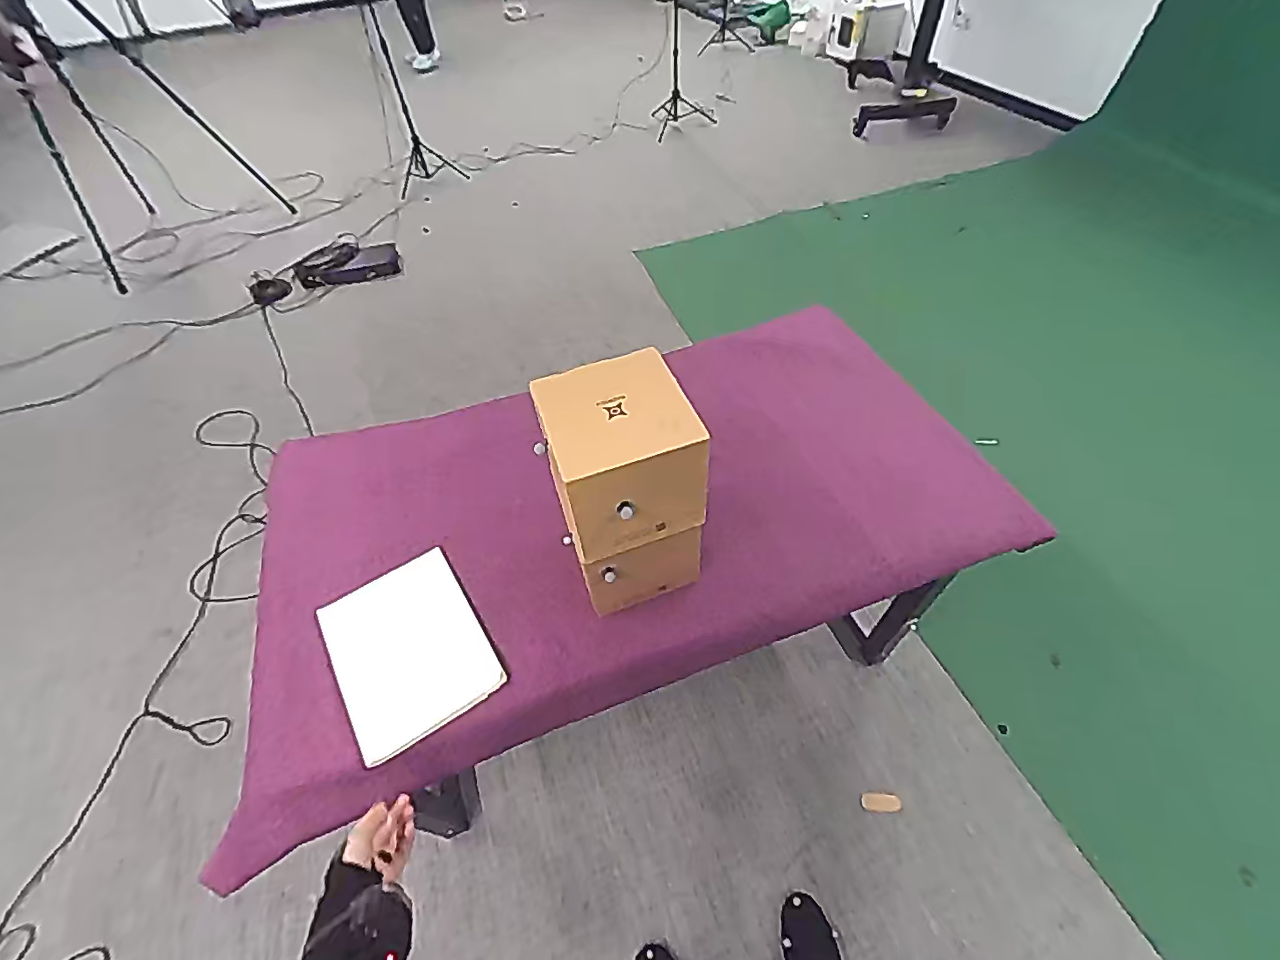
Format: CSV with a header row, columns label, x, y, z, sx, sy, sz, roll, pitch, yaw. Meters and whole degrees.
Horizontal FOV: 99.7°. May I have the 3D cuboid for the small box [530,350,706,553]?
label,x,y,z,sx,sy,sz,roll,pitch,yaw
small box,-0.025,-0.028,0.679,0.168,0.176,0.179,-17,51,-10
